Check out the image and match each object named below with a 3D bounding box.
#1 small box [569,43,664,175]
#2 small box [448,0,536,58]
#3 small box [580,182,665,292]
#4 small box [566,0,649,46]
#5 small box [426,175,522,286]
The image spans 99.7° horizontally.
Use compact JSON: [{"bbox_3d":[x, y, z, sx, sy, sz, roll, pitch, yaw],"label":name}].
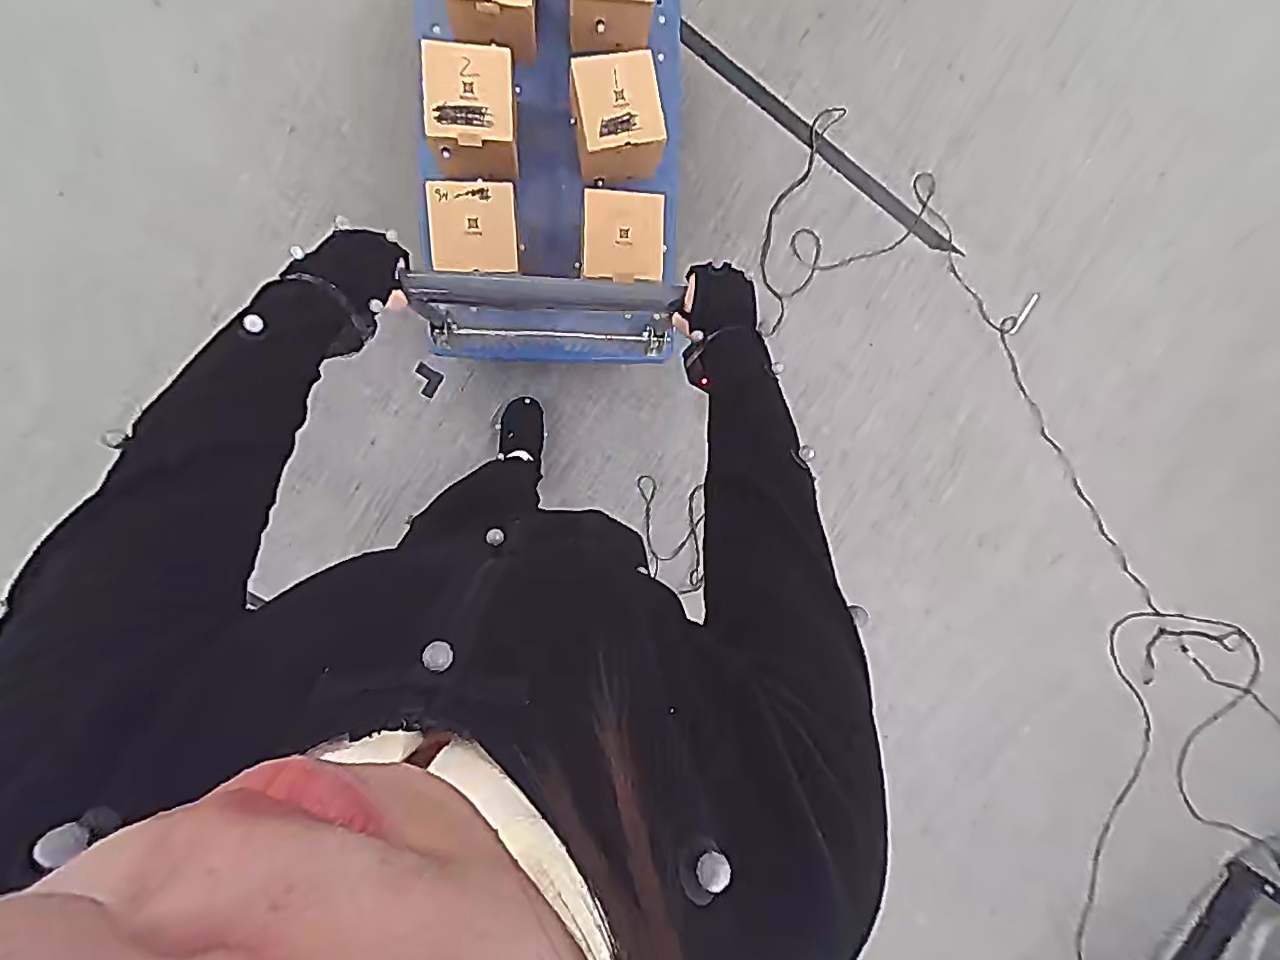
[{"bbox_3d":[-0.055,-0.775,1.151,0.168,0.176,0.179,-12,97,-8],"label":"small box"},{"bbox_3d":[-0.298,-1.007,1.087,0.168,0.176,0.179,1,97,-9],"label":"small box"},{"bbox_3d":[-0.044,-0.519,1.181,0.168,0.176,0.179,0,95,-9],"label":"small box"},{"bbox_3d":[-0.069,-1.045,1.122,0.168,0.176,0.179,-3,96,-9],"label":"small box"},{"bbox_3d":[-0.338,-0.511,1.134,0.168,0.176,0.179,-4,97,-9],"label":"small box"}]
